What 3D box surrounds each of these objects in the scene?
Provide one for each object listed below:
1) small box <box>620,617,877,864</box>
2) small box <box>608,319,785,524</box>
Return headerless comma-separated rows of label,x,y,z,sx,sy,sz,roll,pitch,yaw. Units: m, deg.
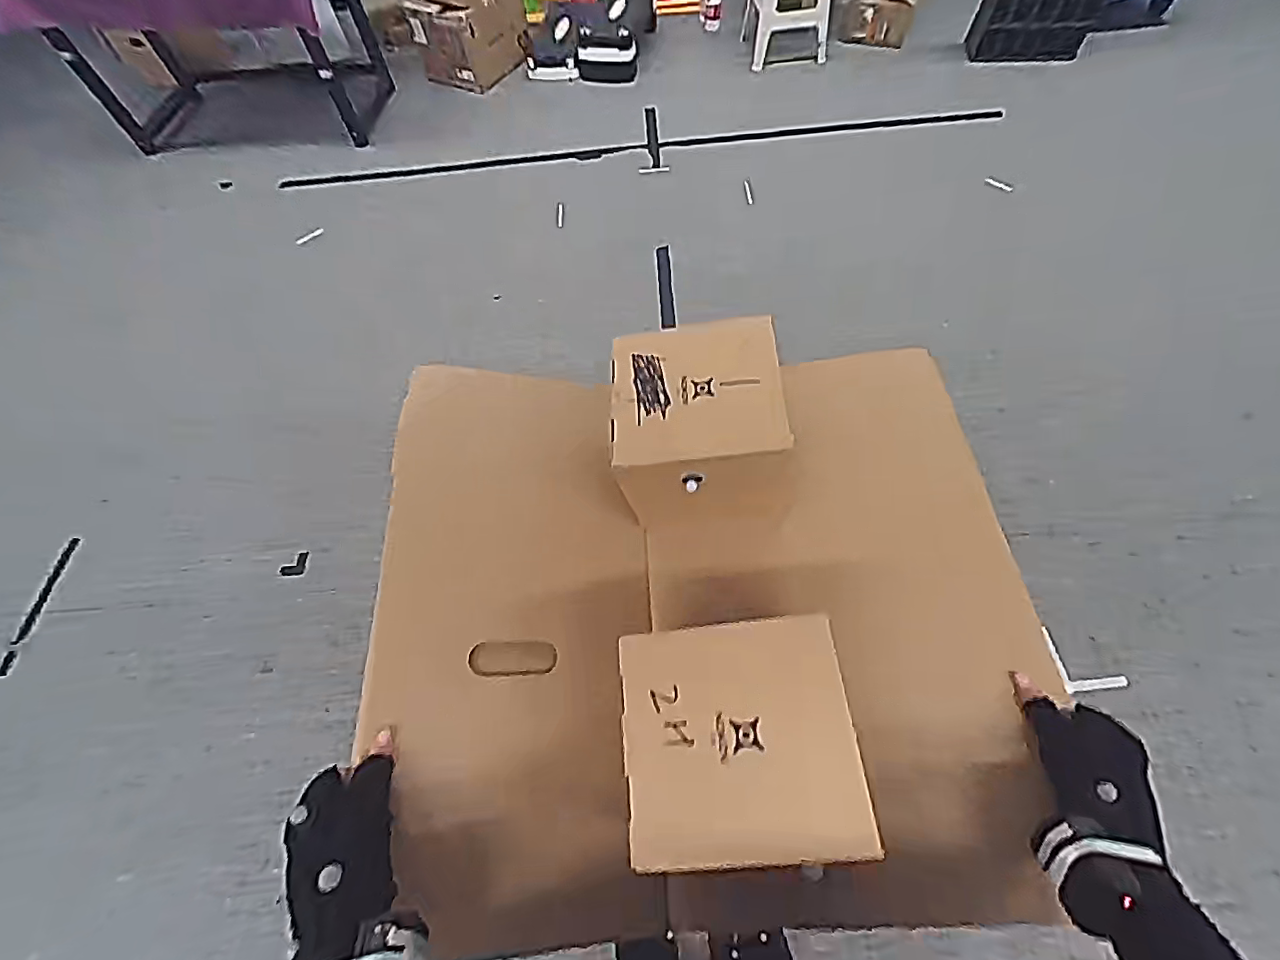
small box,0.088,0.227,0.485,0.179,0.176,0.168,-9,63,9
small box,0.068,-0.056,0.627,0.179,0.176,0.168,-6,64,9
